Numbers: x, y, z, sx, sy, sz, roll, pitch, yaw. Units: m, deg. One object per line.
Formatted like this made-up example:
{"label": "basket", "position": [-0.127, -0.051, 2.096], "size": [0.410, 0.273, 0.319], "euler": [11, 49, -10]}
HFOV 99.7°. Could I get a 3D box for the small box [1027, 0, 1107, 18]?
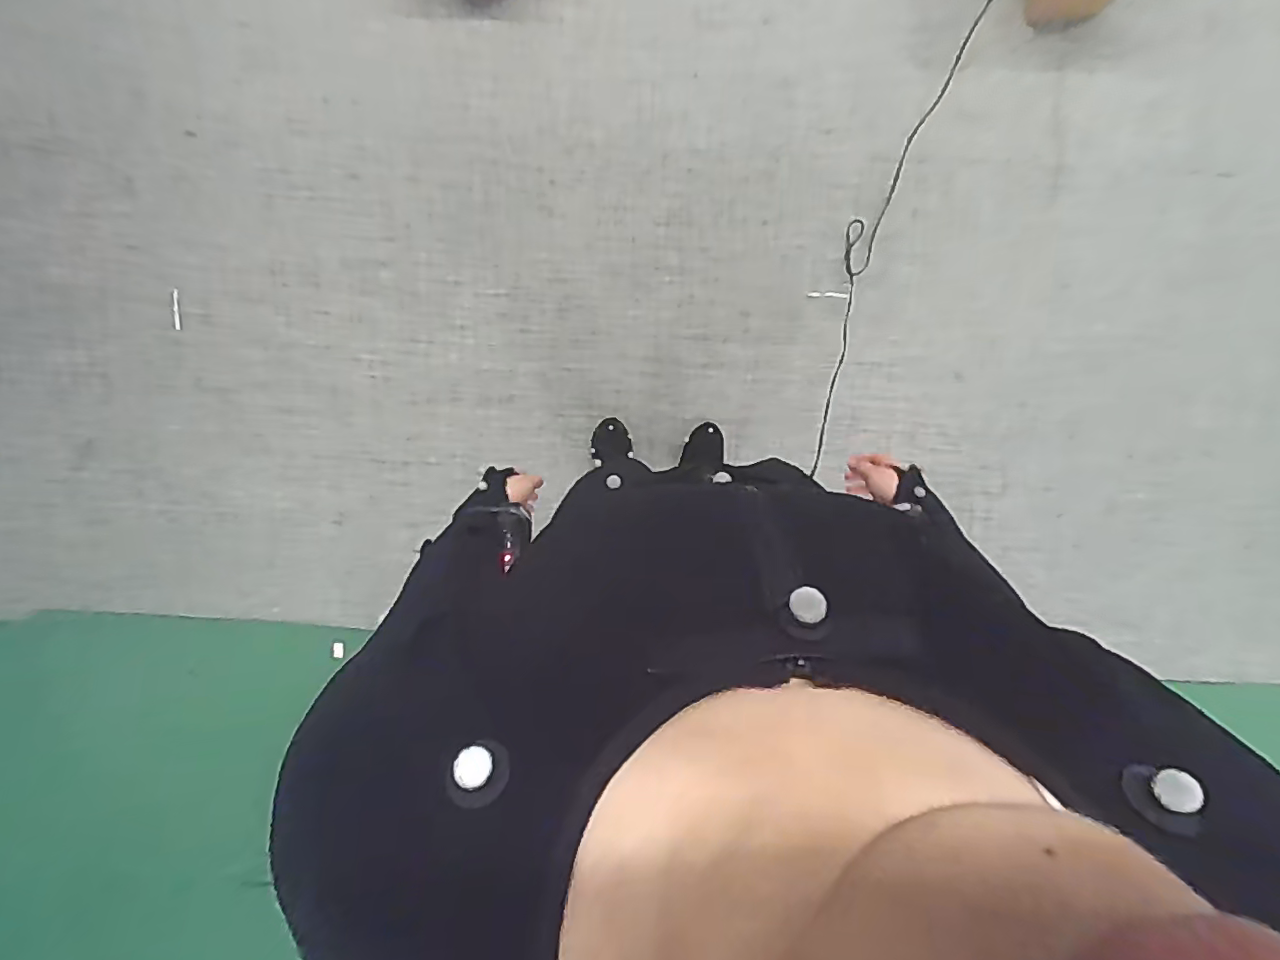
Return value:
{"label": "small box", "position": [1.001, -1.178, 1.204], "size": [0.179, 0.176, 0.168], "euler": [-5, 98, 3]}
